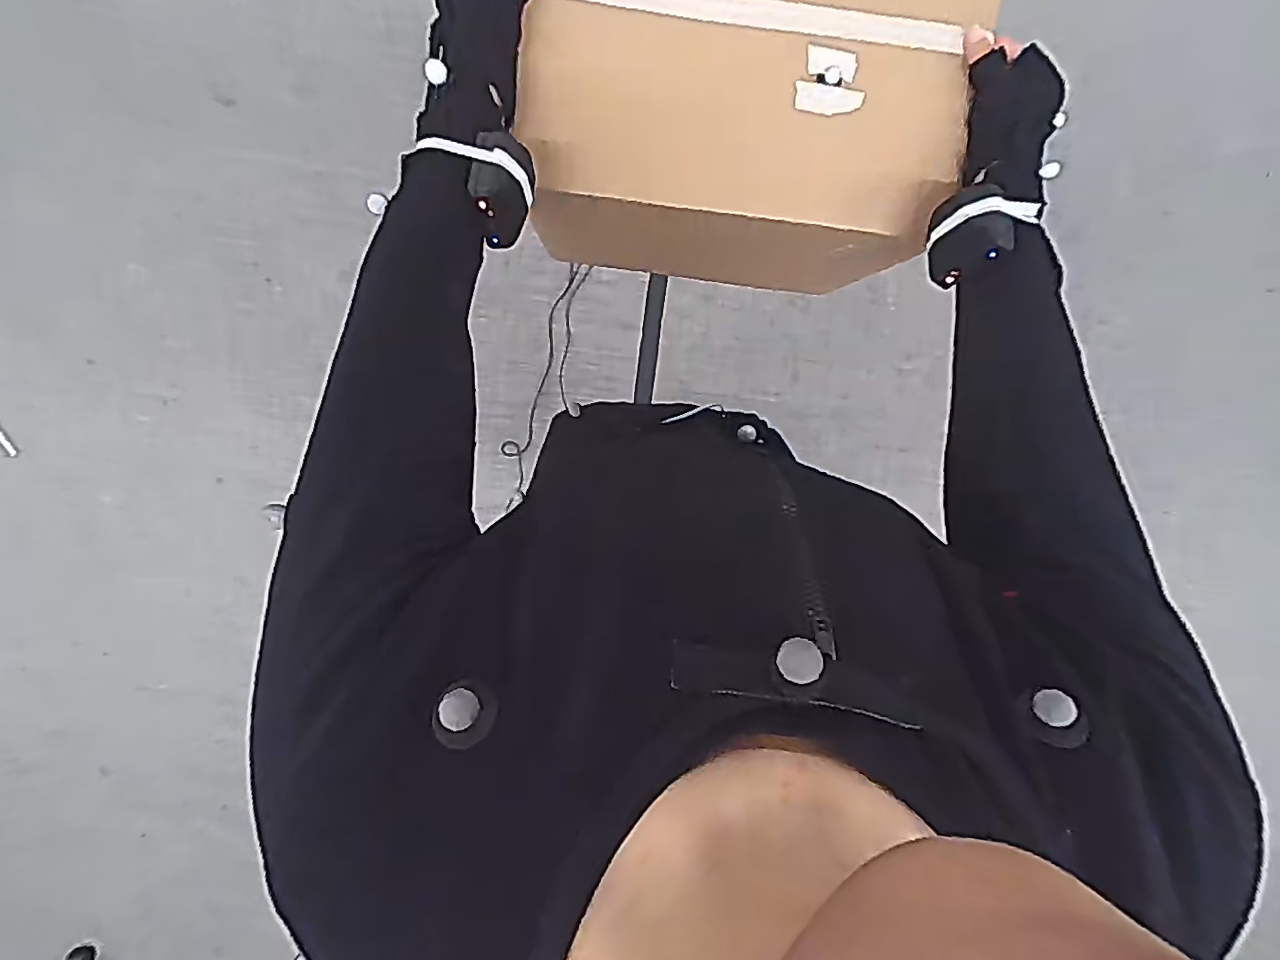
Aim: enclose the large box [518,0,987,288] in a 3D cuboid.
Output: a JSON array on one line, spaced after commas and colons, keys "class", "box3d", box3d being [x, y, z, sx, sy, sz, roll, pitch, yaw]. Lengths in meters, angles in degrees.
[{"class": "large box", "box3d": [0.093, -0.420, 0.614, 0.408, 0.320, 0.320, 6, 101, -4]}]
